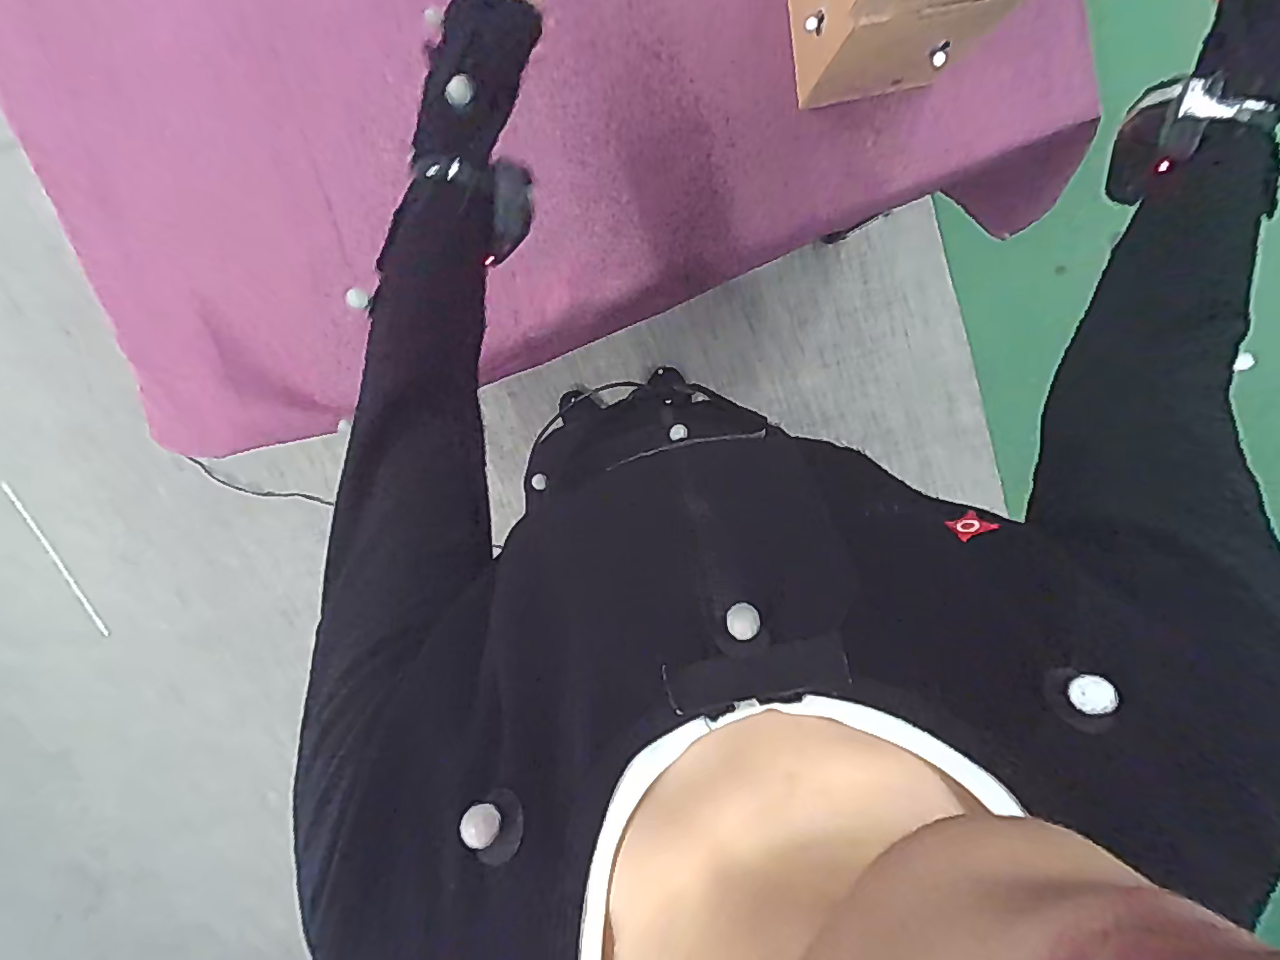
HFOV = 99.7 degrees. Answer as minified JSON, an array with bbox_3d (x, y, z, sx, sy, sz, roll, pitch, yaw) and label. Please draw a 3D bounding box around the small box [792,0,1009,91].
[{"bbox_3d":[0.256,-0.523,0.538,0.168,0.176,0.179,-10,102,1],"label":"small box"}]
